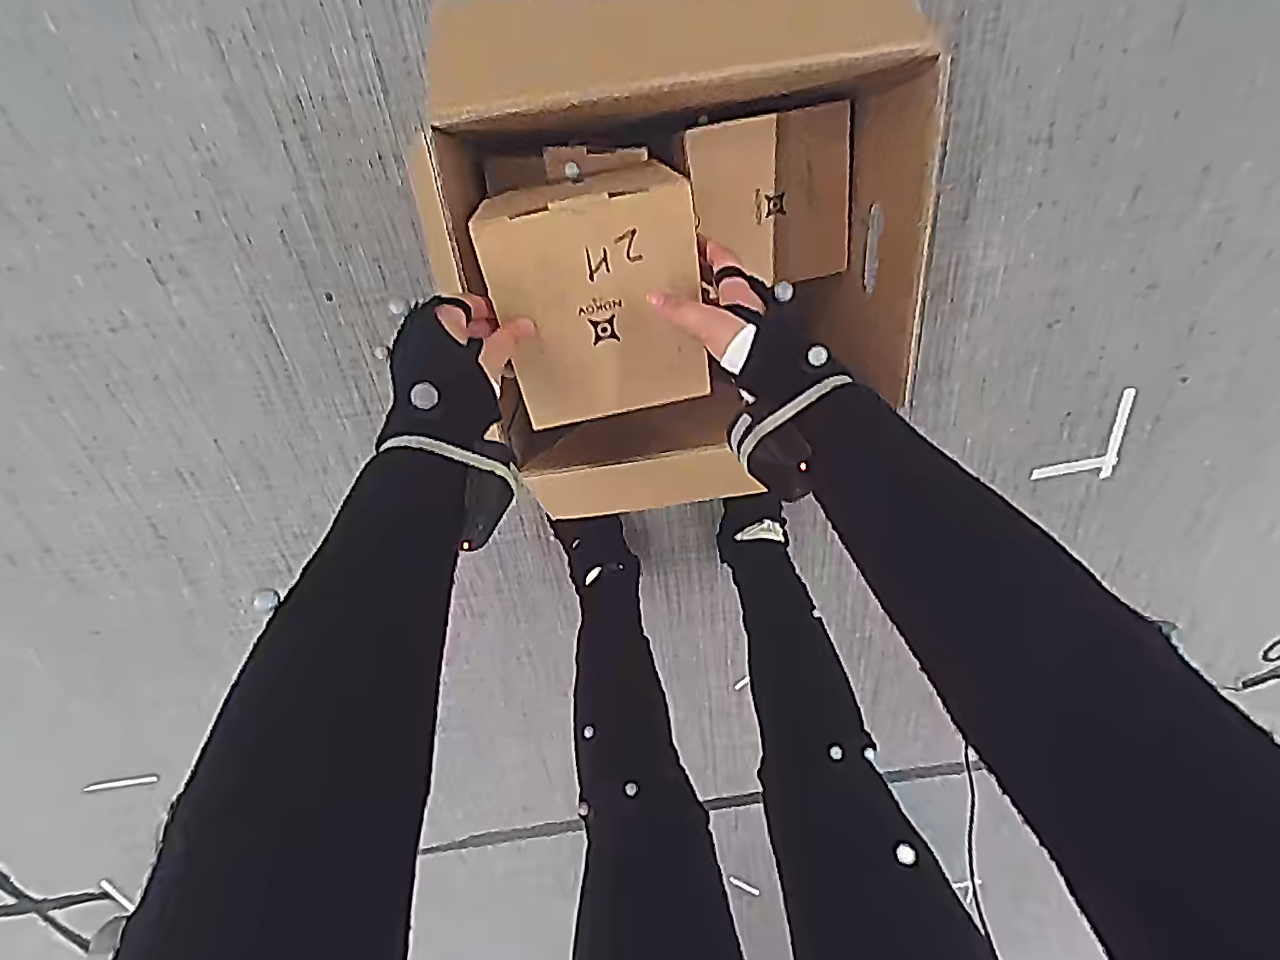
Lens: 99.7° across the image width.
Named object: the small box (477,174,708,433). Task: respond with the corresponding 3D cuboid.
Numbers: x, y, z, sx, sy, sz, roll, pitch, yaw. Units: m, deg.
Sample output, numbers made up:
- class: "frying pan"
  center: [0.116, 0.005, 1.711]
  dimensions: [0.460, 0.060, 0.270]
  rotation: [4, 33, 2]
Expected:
- class: "small box"
  center: [-0.038, -0.173, 0.517]
  dimensions: [0.168, 0.176, 0.179]
  rotation: [-12, 125, 0]
